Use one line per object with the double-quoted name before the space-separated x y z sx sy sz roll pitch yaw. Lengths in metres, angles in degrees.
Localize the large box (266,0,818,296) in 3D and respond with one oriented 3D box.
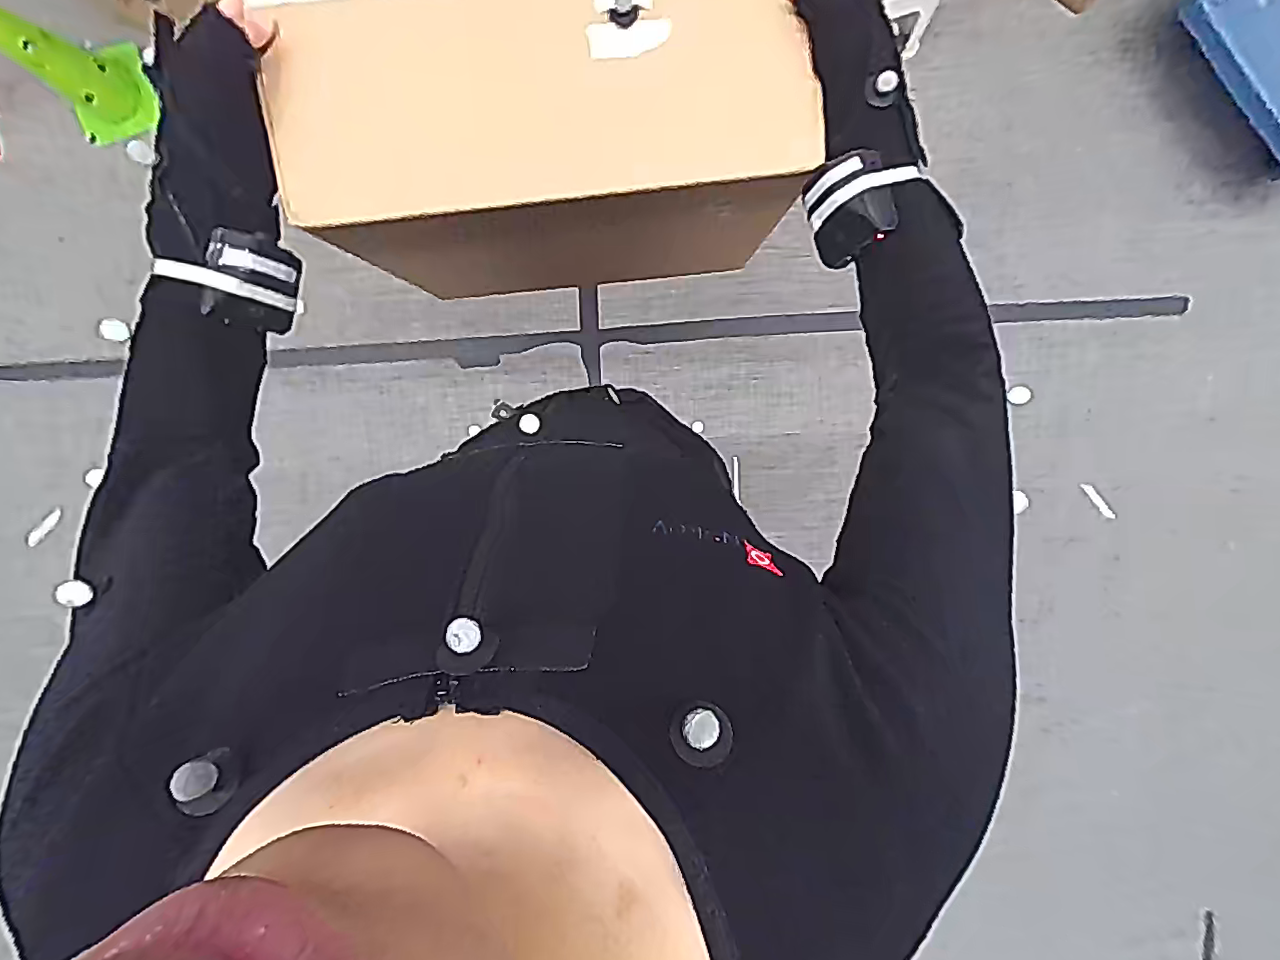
"large box" -0.080 -0.392 0.540 0.408 0.320 0.320 -6 99 0
